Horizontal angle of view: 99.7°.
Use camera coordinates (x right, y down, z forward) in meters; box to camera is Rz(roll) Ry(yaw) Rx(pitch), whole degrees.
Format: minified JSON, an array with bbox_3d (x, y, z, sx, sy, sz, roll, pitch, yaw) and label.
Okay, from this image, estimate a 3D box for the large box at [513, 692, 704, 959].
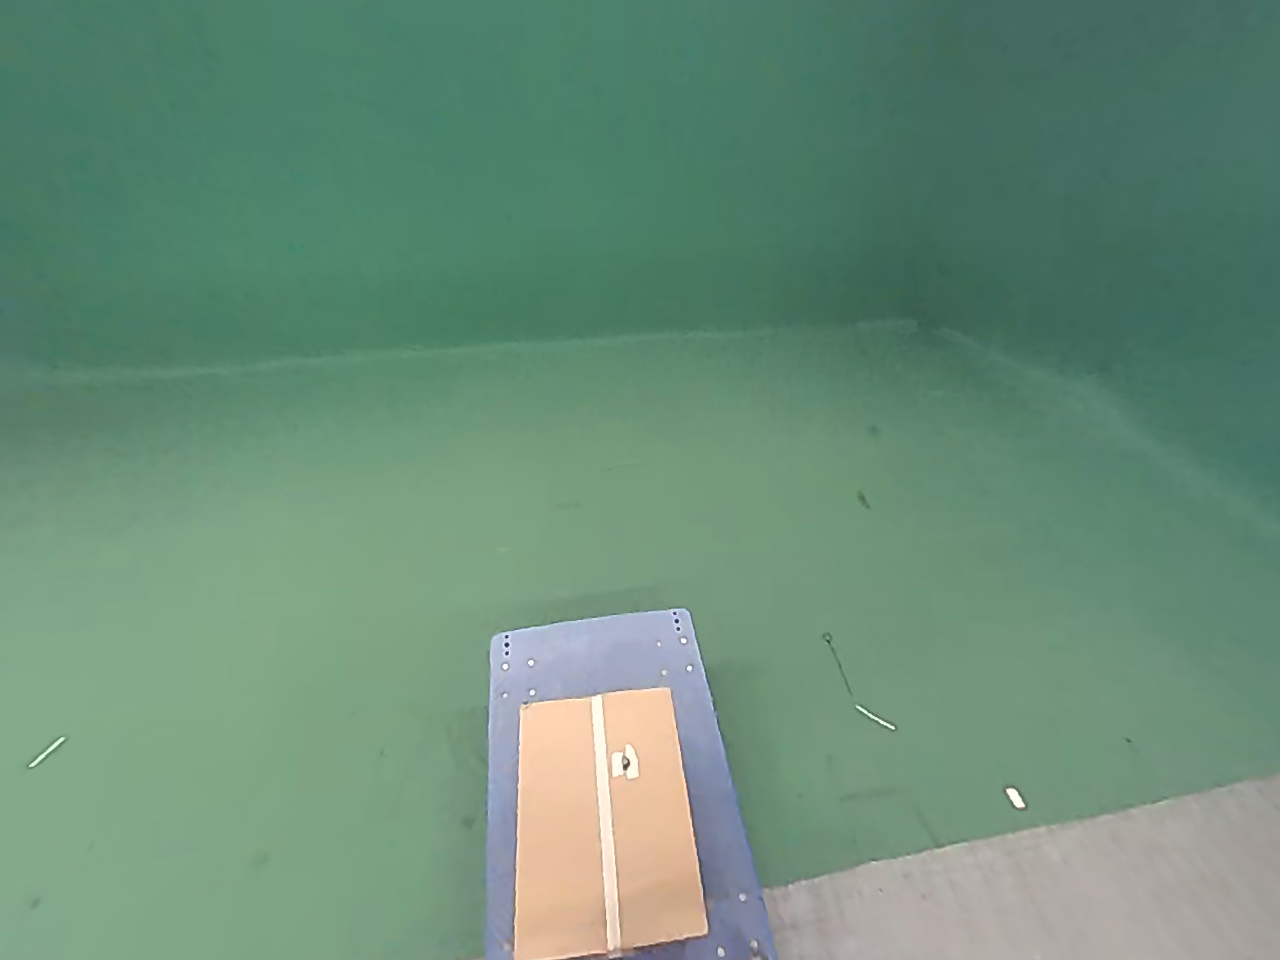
[{"bbox_3d":[-0.073,0.703,1.098,0.320,0.320,0.408,-3,48,-6],"label":"large box"}]
